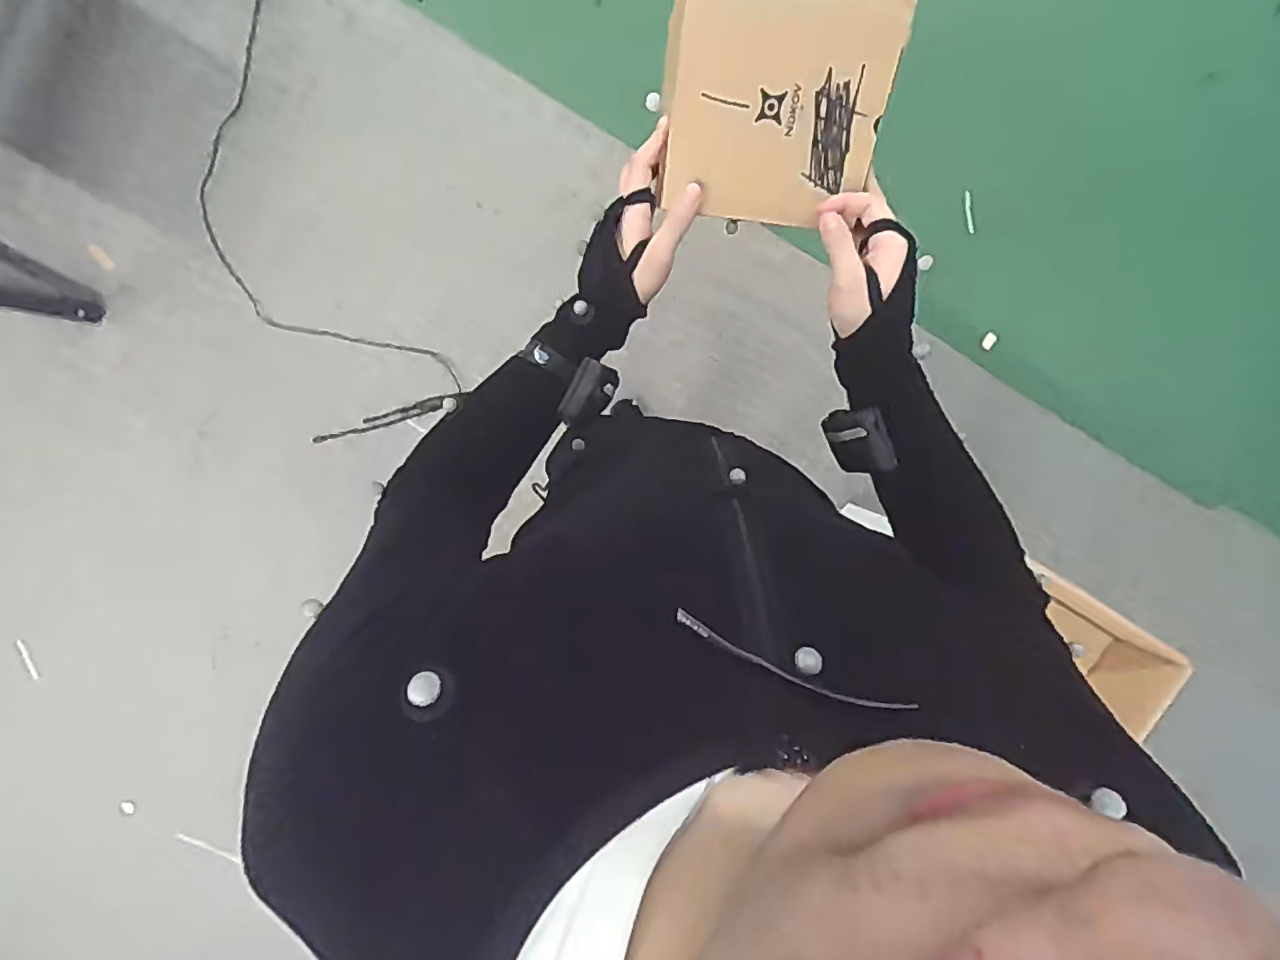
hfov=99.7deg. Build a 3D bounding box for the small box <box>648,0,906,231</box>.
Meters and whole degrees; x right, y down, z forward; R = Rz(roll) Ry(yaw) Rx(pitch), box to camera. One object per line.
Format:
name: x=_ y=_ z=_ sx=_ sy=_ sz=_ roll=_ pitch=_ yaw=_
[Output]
small box: x=0.105 y=-0.338 z=0.506 sx=0.179 sy=0.176 sz=0.168 roll=5 pitch=118 yaw=-3
